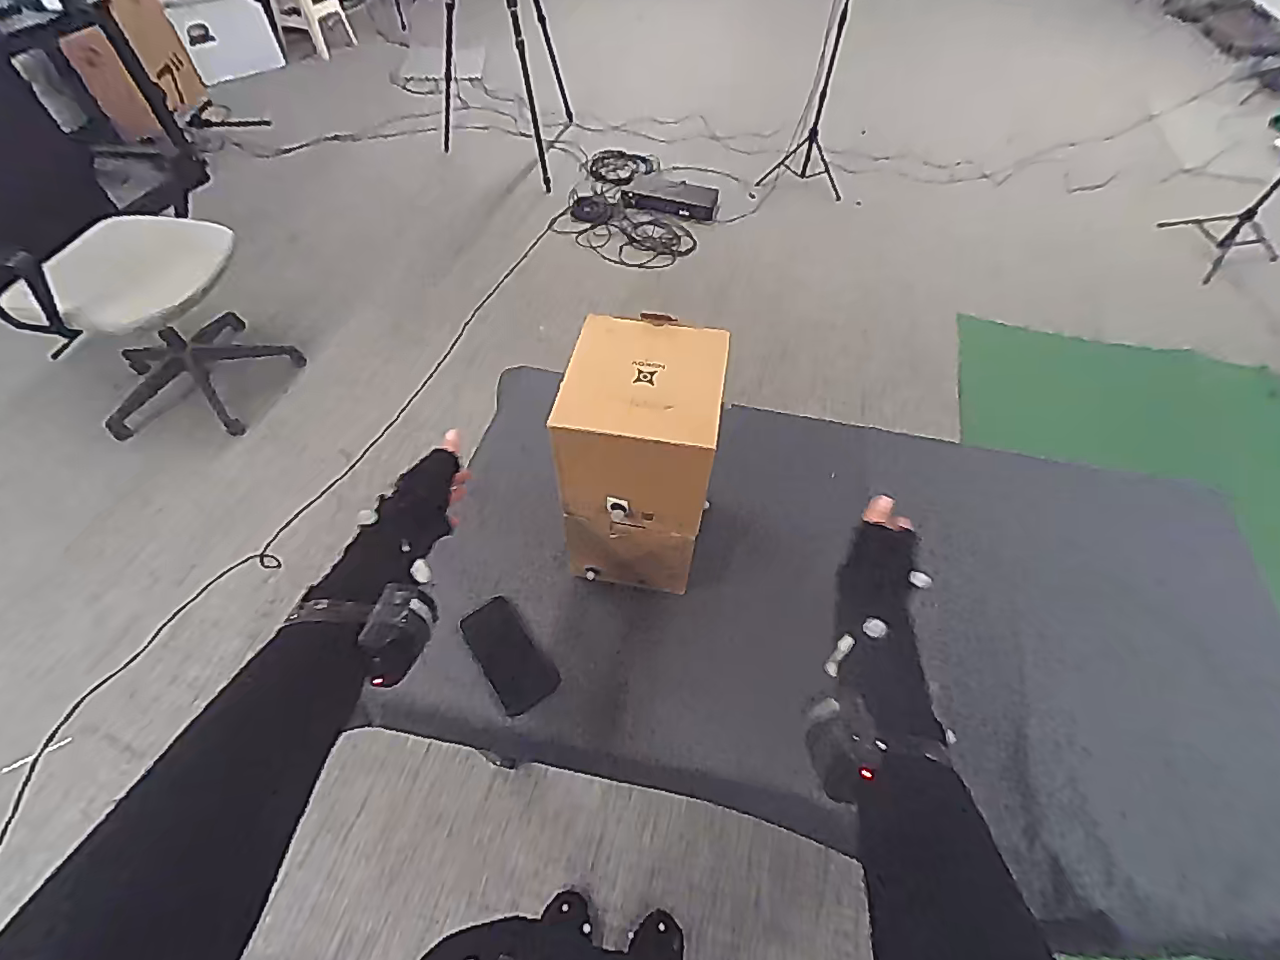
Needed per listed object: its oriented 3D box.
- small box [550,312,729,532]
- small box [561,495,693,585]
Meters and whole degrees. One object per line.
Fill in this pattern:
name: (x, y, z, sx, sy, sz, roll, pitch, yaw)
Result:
small box: (0.002, -0.065, 0.632, 0.168, 0.176, 0.179, 9, 56, 5)
small box: (-0.004, 0.030, 0.764, 0.168, 0.176, 0.179, 9, 54, 4)
